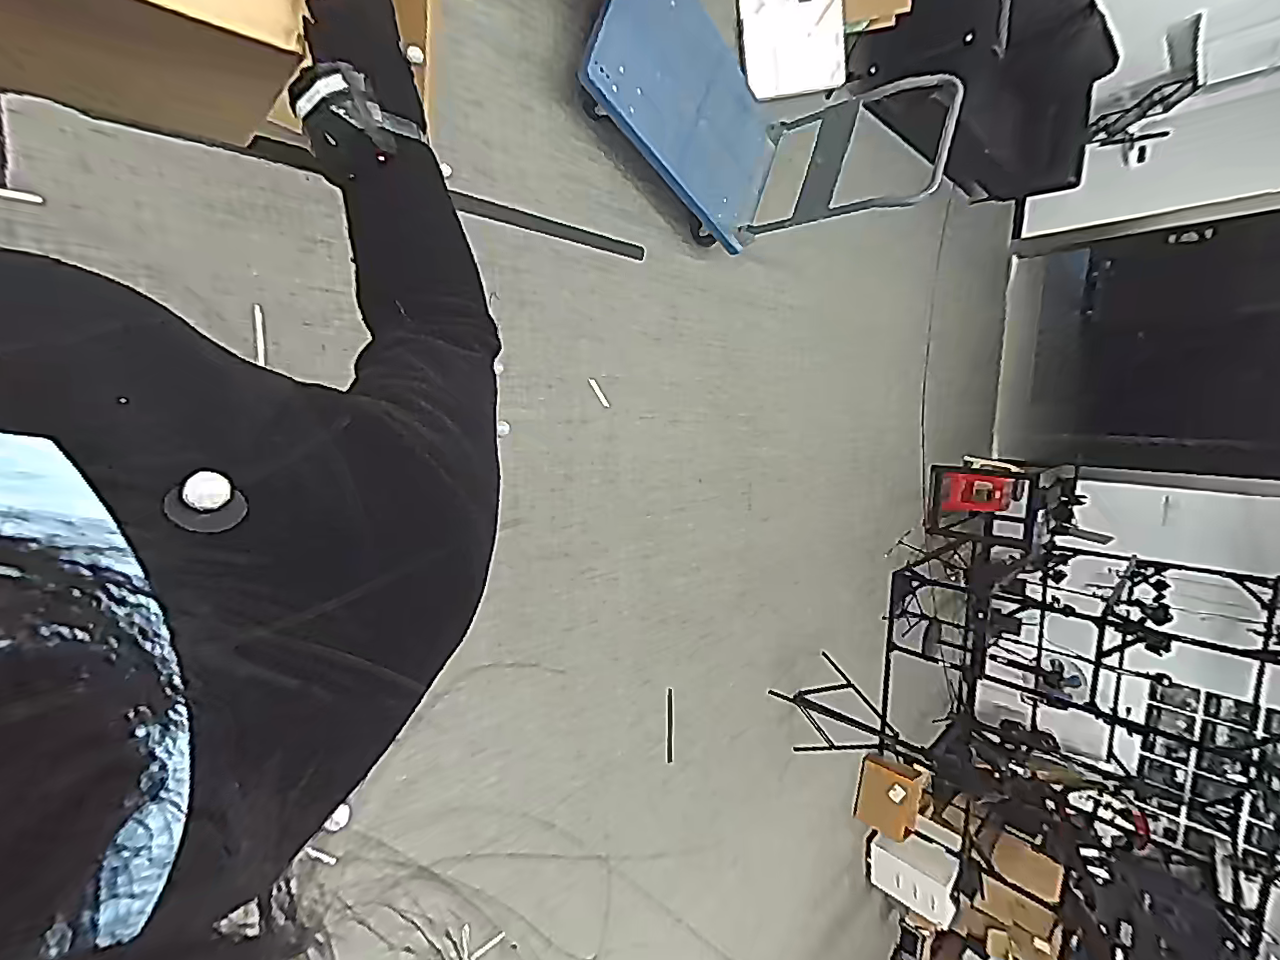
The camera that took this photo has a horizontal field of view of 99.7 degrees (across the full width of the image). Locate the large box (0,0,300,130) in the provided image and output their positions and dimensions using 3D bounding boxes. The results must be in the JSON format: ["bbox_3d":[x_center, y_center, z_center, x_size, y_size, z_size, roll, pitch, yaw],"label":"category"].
[{"bbox_3d":[-0.493,-0.482,0.348,0.408,0.320,0.320,-9,108,-41],"label":"large box"}]
